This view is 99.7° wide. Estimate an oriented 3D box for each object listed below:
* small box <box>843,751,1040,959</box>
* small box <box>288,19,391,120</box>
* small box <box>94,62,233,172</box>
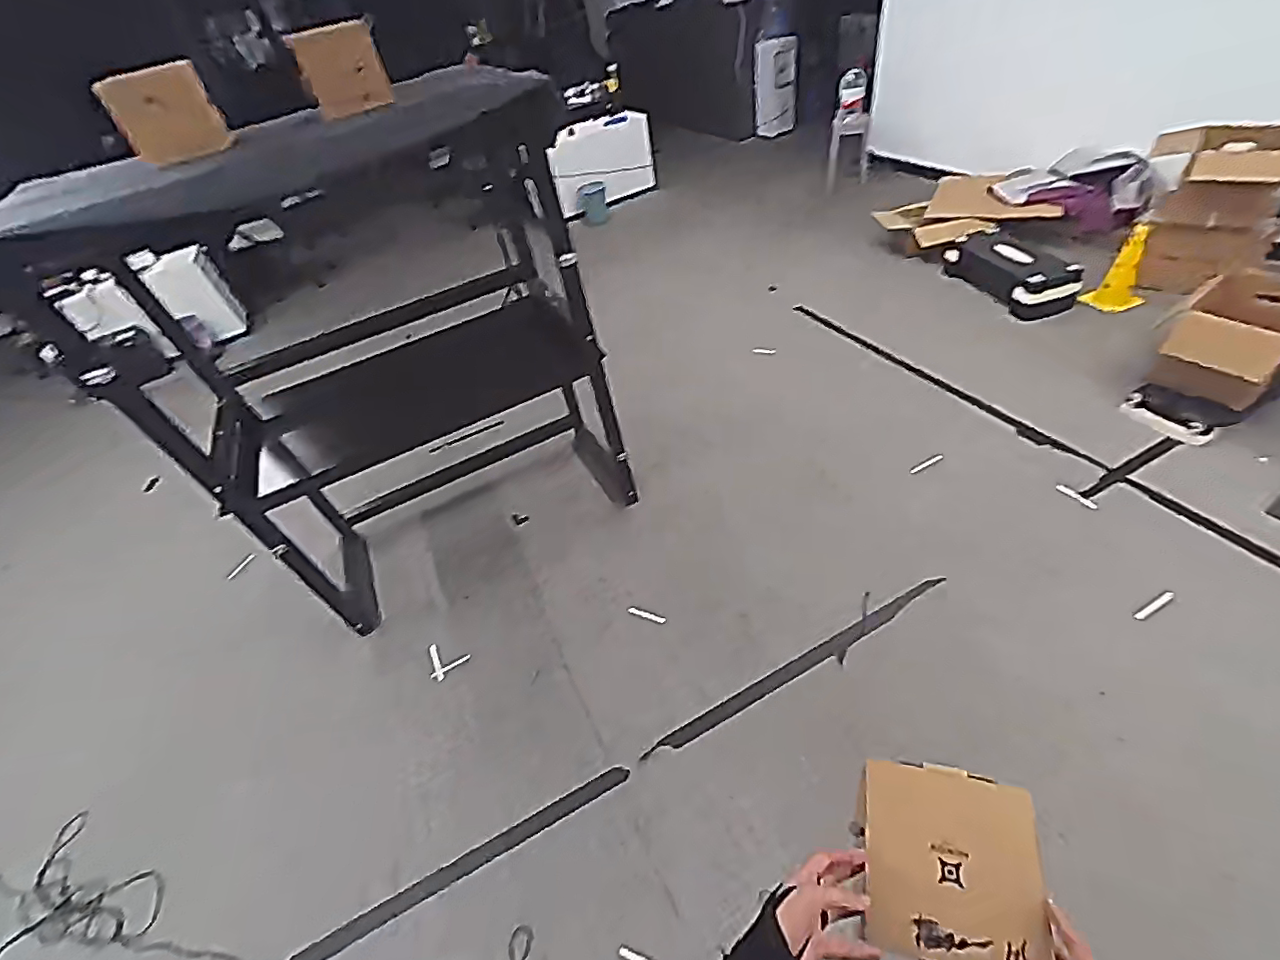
[{"bbox_3d":[0.328,0.440,0.623,0.168,0.176,0.179,4,55,19],"label":"small box"},{"bbox_3d":[-0.747,-1.024,1.353,0.168,0.176,0.179,-27,46,-14],"label":"small box"},{"bbox_3d":[-1.099,-0.852,1.268,0.179,0.176,0.168,-26,46,-11],"label":"small box"}]
